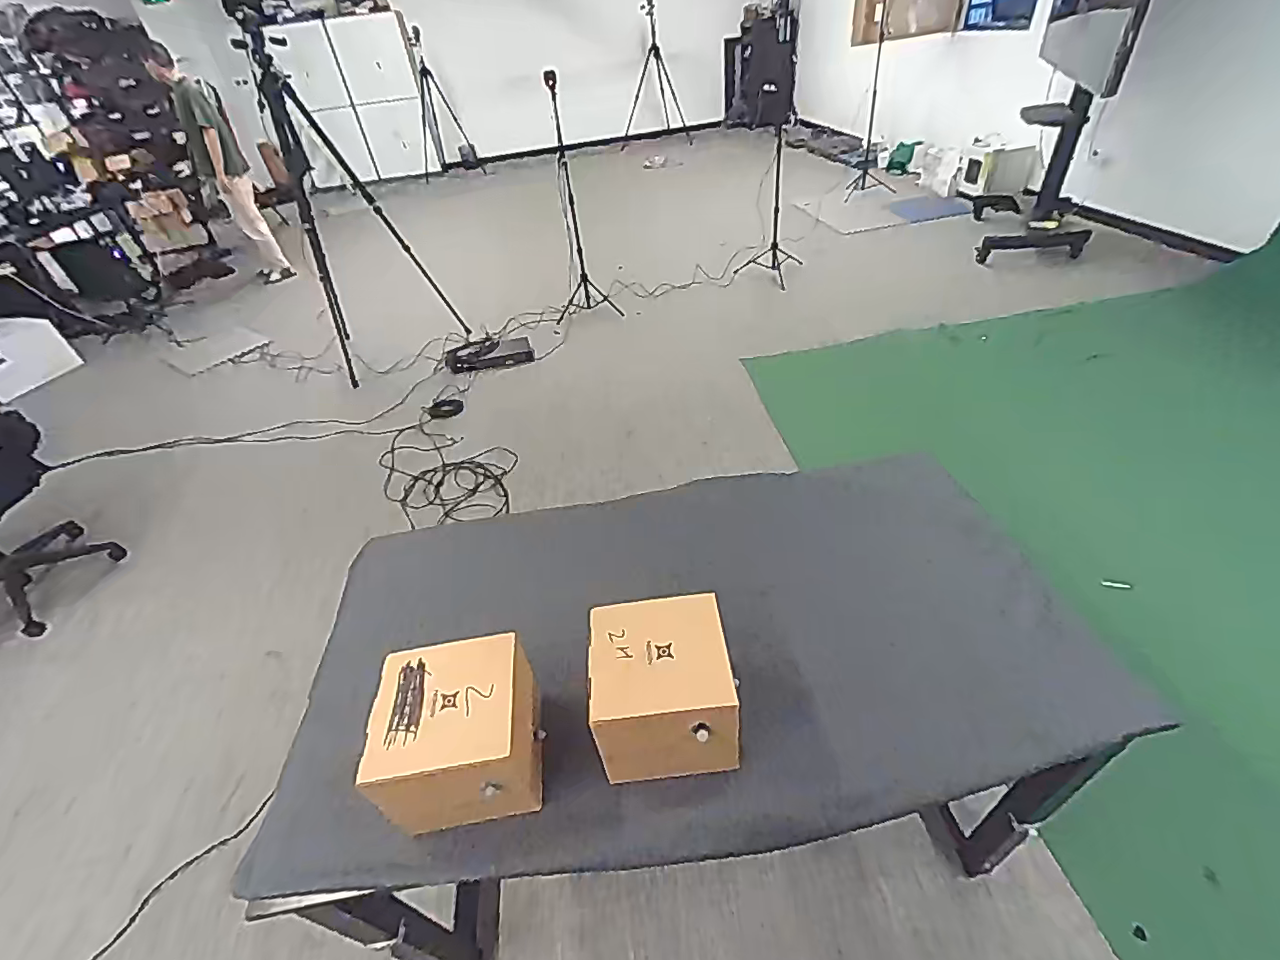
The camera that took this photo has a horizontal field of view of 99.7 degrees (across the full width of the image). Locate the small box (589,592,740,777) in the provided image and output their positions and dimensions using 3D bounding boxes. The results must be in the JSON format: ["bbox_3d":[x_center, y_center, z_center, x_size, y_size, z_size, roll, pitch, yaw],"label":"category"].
[{"bbox_3d":[0.033,0.276,0.727,0.179,0.176,0.168,-8,39,2],"label":"small box"}]
